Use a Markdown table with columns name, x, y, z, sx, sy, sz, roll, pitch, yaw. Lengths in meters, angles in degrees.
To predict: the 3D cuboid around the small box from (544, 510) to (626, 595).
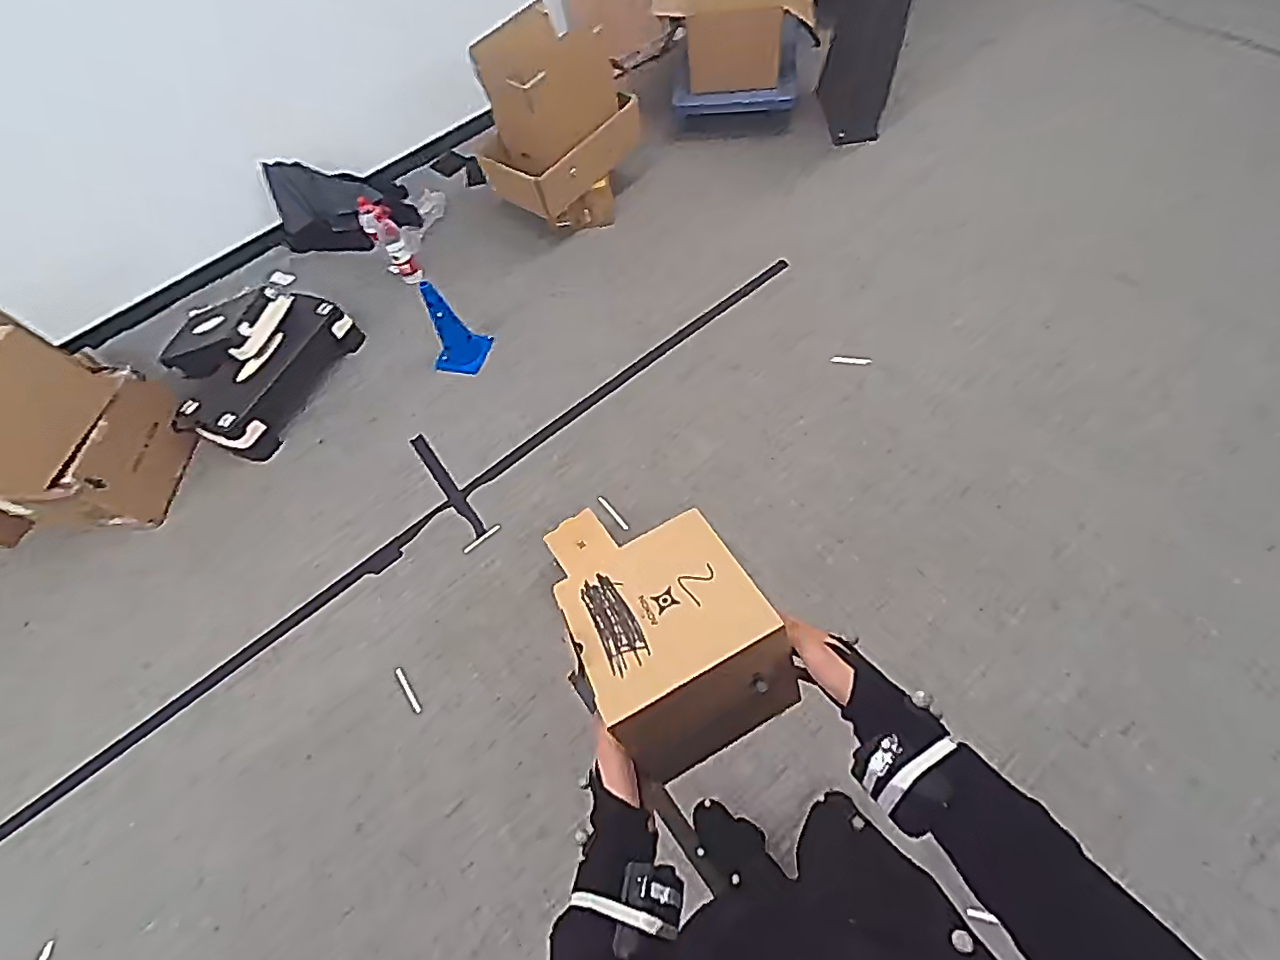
| name | x | y | z | sx | sy | sz | roll | pitch | yaw |
| --- | --- | --- | --- | --- | --- | --- | --- | --- | --- |
| small box | -0.159 | 0.227 | 1.629 | 0.168 | 0.176 | 0.179 | -34 | 62 | -11 |
